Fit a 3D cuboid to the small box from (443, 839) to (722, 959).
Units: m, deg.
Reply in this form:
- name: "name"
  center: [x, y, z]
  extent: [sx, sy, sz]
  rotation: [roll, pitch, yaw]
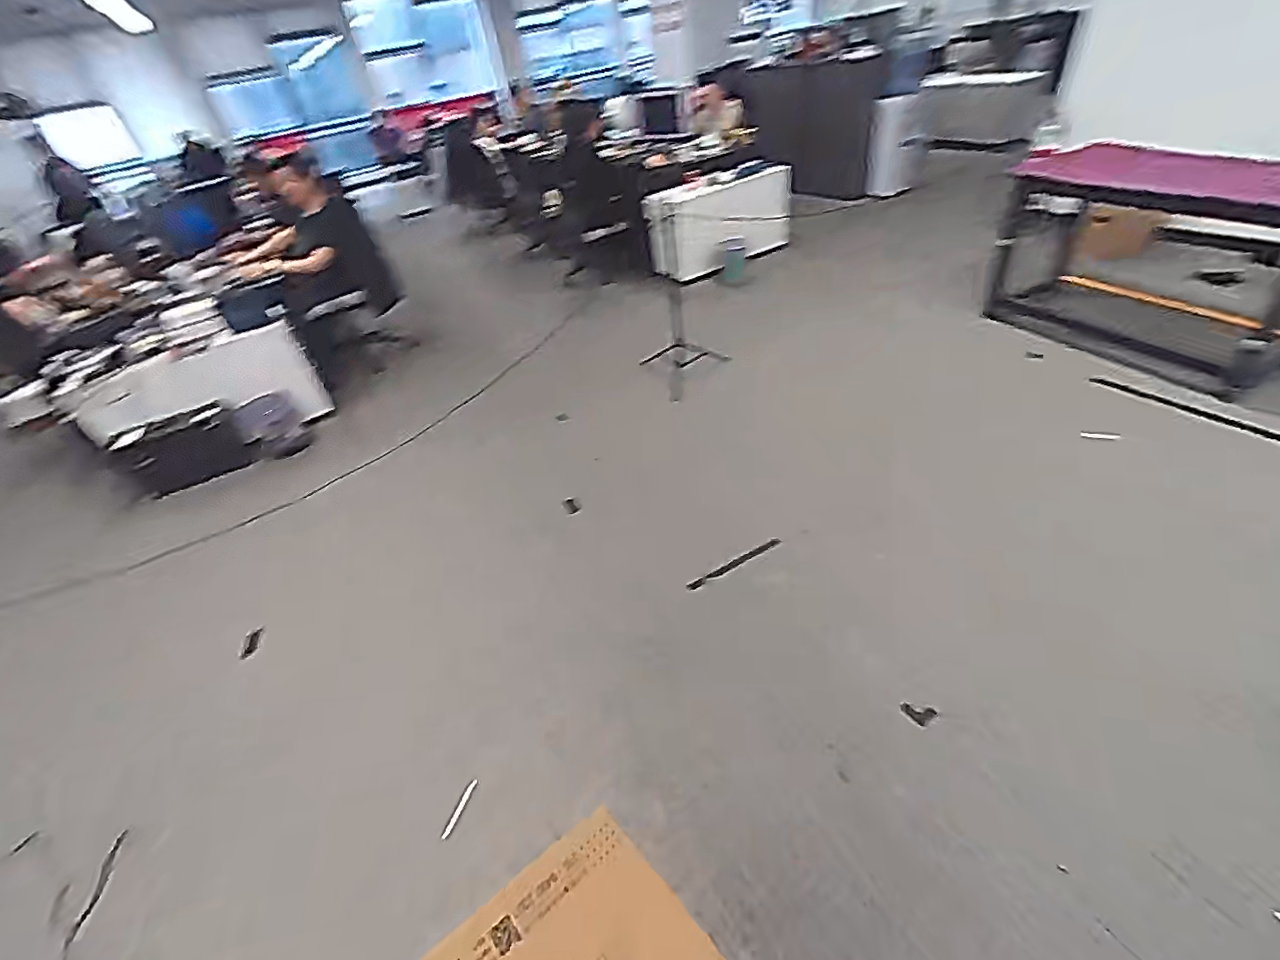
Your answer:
- name: "small box"
  center: [-0.047, 0.364, 0.325]
  extent: [0.176, 0.179, 0.168]
  rotation: [39, 26, 29]
